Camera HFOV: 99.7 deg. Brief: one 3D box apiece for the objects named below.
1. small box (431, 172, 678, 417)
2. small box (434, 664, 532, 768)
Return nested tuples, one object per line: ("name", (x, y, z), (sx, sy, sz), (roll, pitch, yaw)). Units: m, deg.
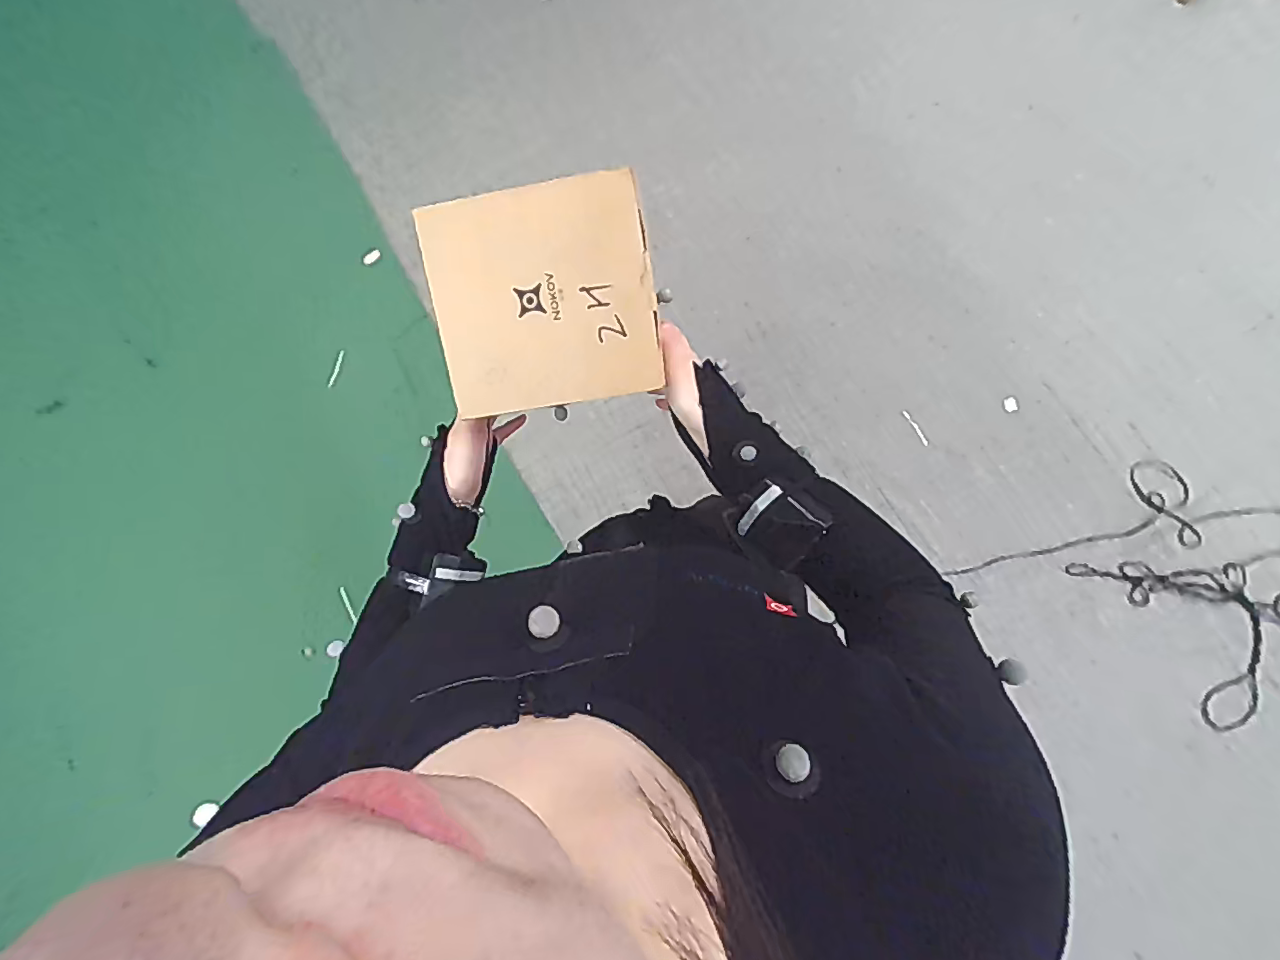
("small box", (-0.060, -0.156, 0.498), (0.179, 0.176, 0.168), (-7, 103, 6))
("small box", (-0.408, 0.621, 1.449), (0.179, 0.176, 0.168), (-31, 83, 4))
